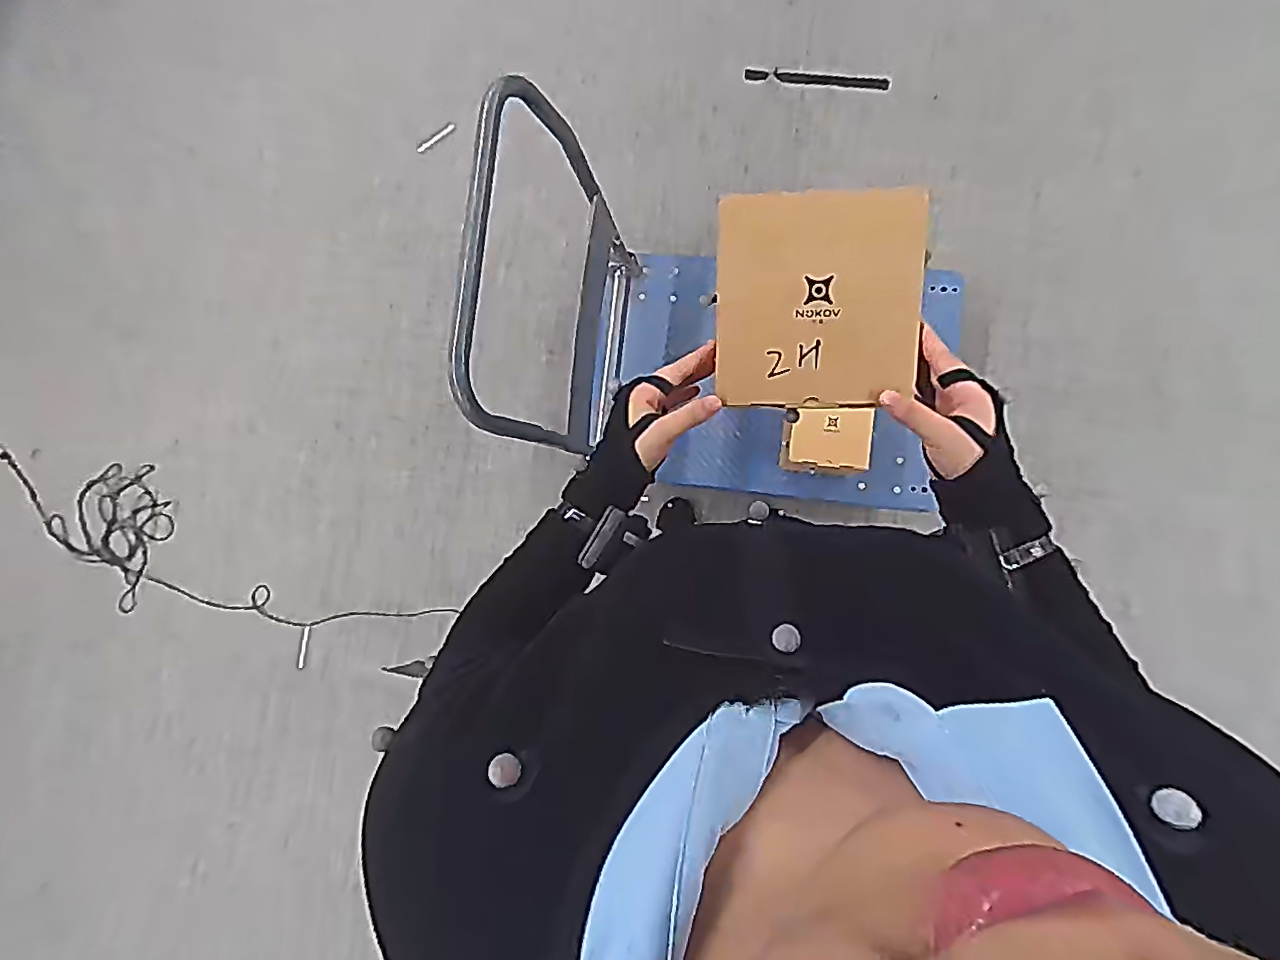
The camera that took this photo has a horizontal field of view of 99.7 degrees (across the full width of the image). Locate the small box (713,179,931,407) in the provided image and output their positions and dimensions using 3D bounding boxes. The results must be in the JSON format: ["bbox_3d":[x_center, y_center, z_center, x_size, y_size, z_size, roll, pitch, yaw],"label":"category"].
[{"bbox_3d":[0.156,-0.161,0.520,0.168,0.176,0.179,2,98,8],"label":"small box"}]

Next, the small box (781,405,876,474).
[{"bbox_3d":[0.416,-0.112,1.216,0.168,0.176,0.179,6,88,8],"label":"small box"}]
